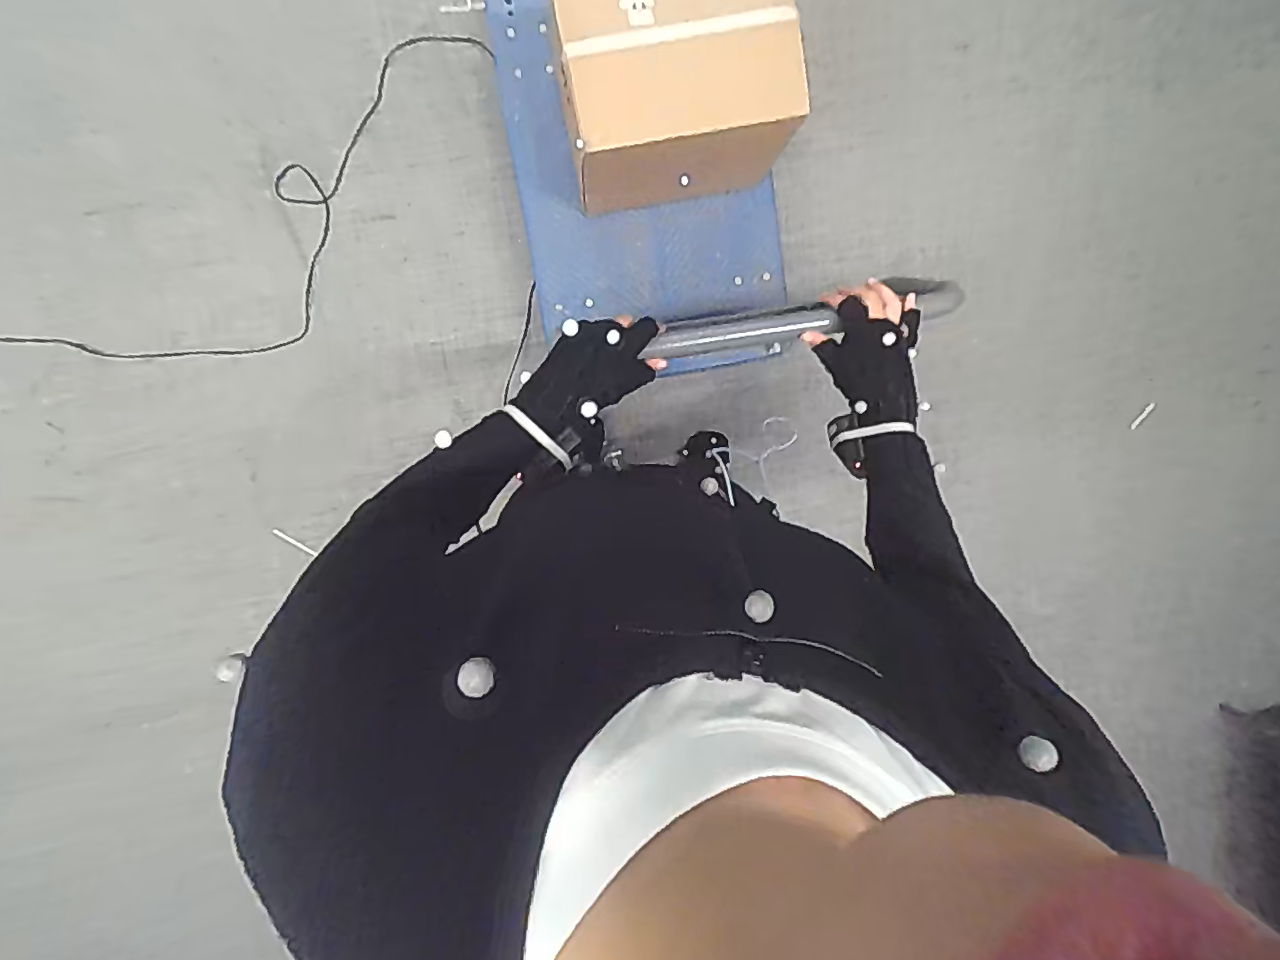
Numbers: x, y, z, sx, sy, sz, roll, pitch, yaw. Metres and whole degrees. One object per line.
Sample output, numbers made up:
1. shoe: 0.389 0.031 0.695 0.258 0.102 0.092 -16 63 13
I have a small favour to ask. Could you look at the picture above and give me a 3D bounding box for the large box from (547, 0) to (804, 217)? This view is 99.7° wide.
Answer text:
1. large box: 0.056 -0.758 1.062 0.408 0.320 0.320 -11 97 -2
